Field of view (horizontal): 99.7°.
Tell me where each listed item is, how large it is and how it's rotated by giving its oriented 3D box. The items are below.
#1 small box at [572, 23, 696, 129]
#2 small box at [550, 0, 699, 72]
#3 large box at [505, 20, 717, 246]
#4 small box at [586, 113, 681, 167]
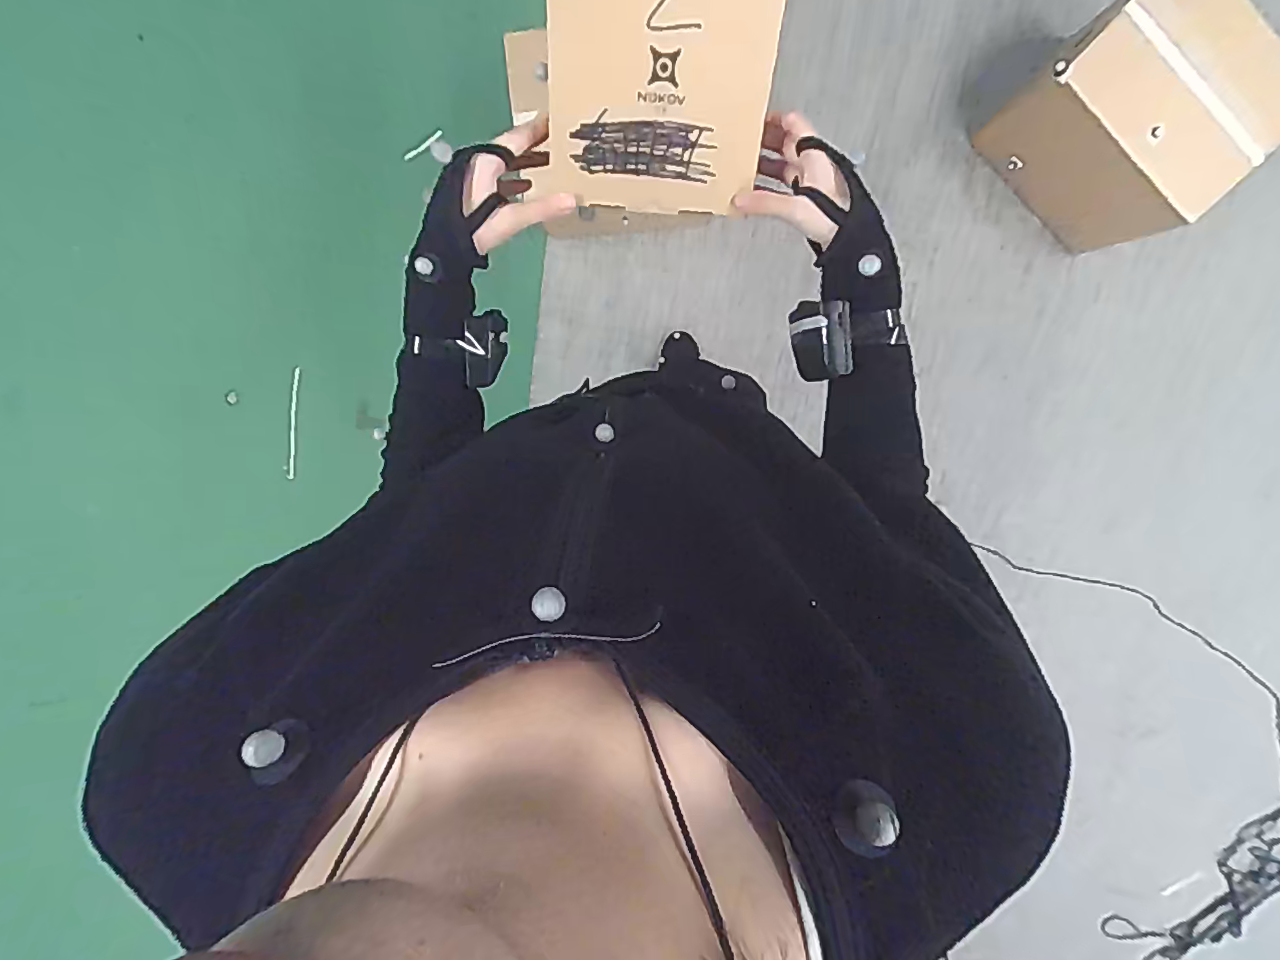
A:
[{"bbox_3d":[-0.014,-0.664,0.820,0.179,0.176,0.168,-5,100,3],"label":"small box"},{"bbox_3d":[-0.022,-0.637,0.658,0.179,0.176,0.168,-5,100,1],"label":"small box"},{"bbox_3d":[-0.048,-0.743,1.222,0.408,0.320,0.320,-4,99,4],"label":"large box"},{"bbox_3d":[-0.012,-0.690,0.982,0.168,0.176,0.179,-4,100,2],"label":"small box"}]
